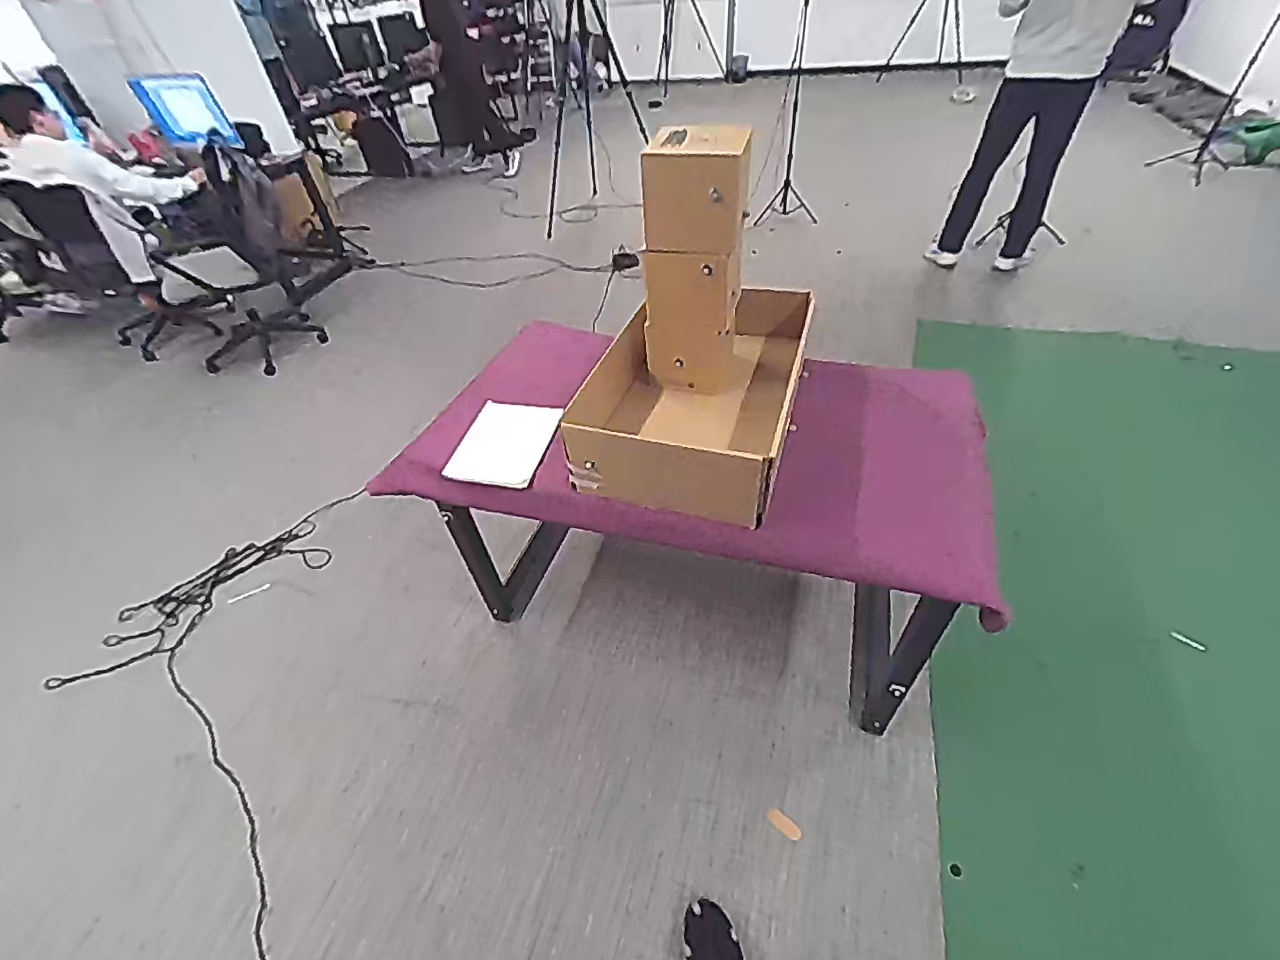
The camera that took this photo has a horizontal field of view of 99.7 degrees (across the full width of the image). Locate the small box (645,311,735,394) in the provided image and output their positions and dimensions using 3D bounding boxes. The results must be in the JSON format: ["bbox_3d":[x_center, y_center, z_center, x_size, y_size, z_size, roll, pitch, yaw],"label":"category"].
[{"bbox_3d":[0.124,-0.322,1.257,0.168,0.176,0.179,11,49,17],"label":"small box"}]

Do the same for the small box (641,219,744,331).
[{"bbox_3d":[0.114,-0.431,1.138,0.179,0.176,0.168,10,48,15],"label":"small box"}]
